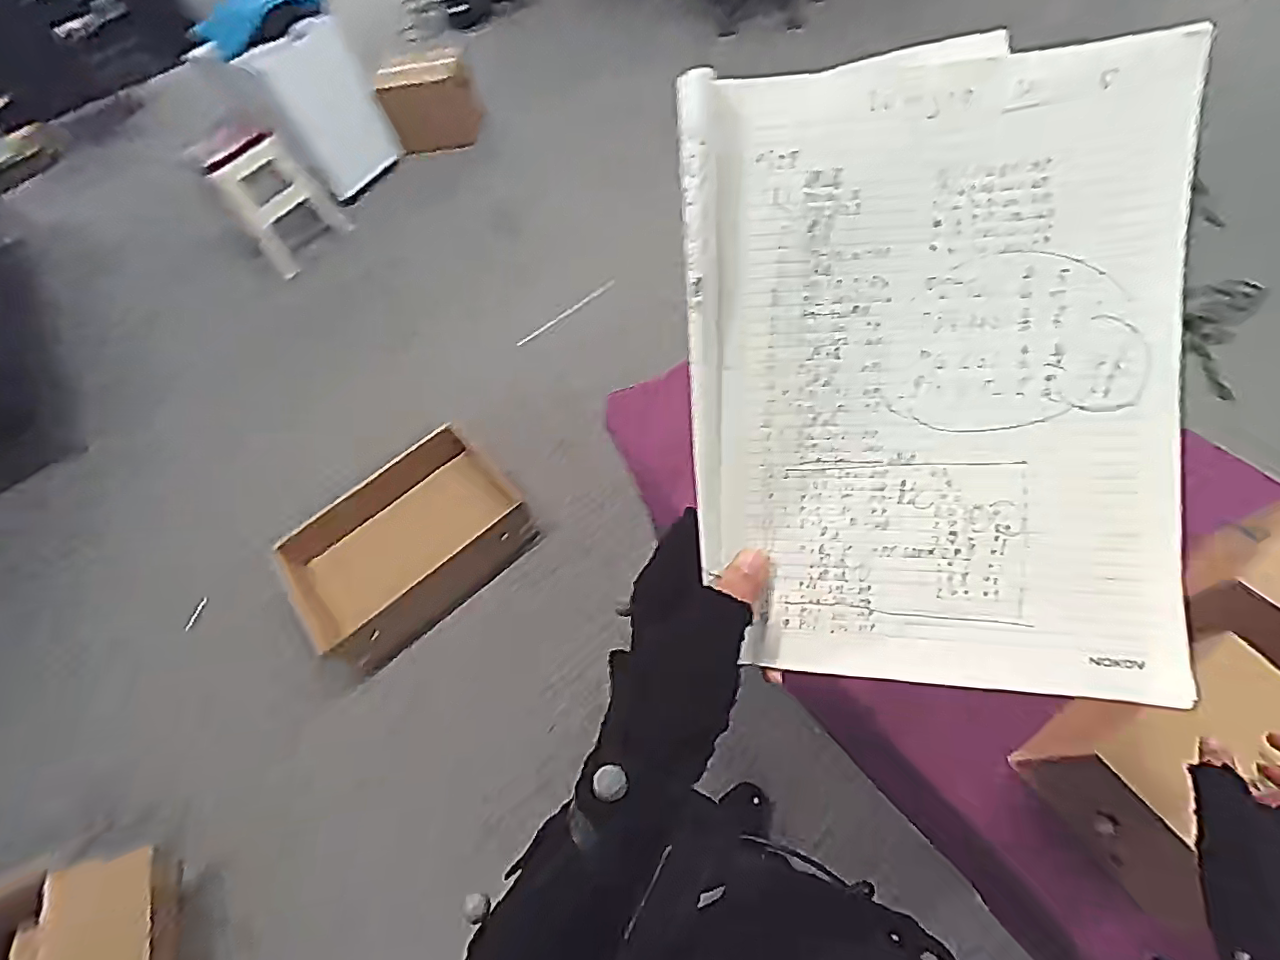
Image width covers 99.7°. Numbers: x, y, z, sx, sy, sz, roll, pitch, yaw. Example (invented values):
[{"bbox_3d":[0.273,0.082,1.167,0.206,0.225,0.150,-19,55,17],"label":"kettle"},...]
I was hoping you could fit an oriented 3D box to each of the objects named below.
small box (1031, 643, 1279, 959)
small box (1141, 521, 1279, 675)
[{"bbox_3d":[0.500,0.280,0.485,0.179,0.176,0.168,-32,60,-9],"label":"small box"},{"bbox_3d":[0.670,0.143,0.536,0.179,0.176,0.168,-34,61,-10],"label":"small box"}]
